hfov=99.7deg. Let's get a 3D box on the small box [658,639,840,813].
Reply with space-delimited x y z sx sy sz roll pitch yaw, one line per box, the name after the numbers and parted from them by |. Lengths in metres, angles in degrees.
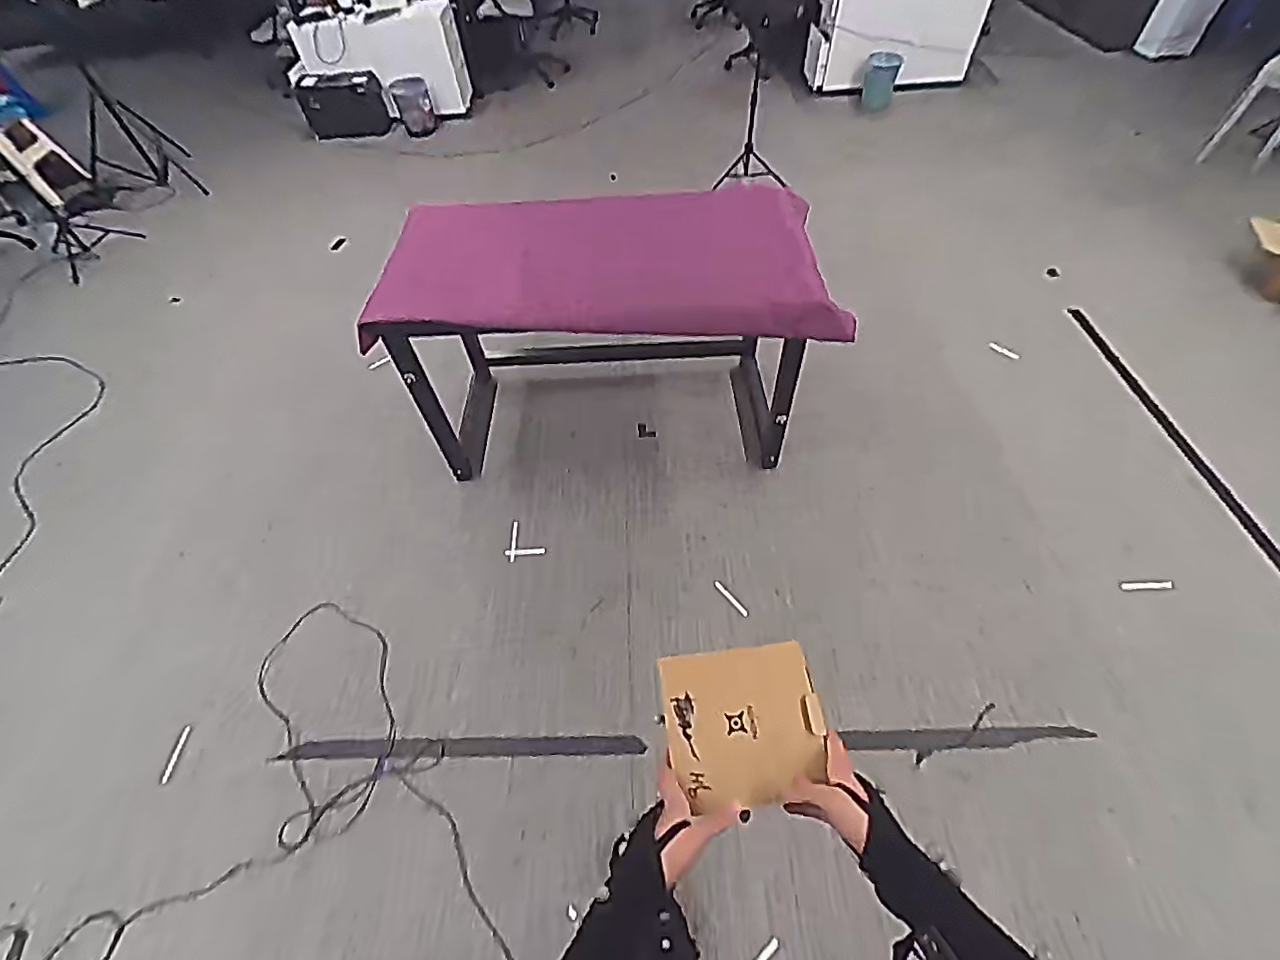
0.118 0.304 0.668 0.179 0.176 0.168 -5 60 -2 | small box
